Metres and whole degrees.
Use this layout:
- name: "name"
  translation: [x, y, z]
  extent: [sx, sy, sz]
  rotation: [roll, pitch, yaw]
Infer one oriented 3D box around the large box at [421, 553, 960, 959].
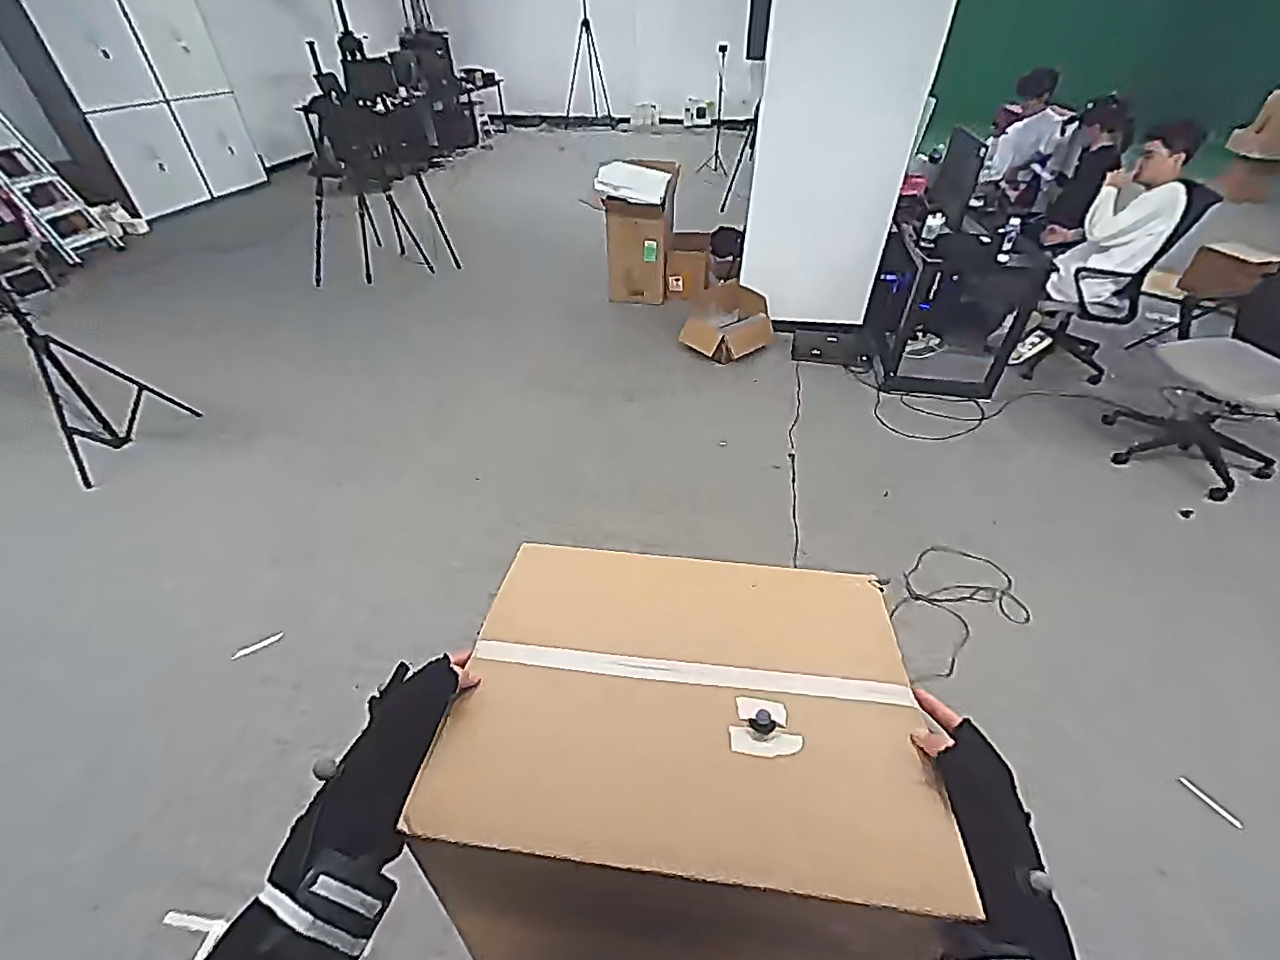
- name: "large box"
  translation: [0.042, 0.310, 0.596]
  extent: [0.408, 0.320, 0.320]
  rotation: [5, 35, 6]
